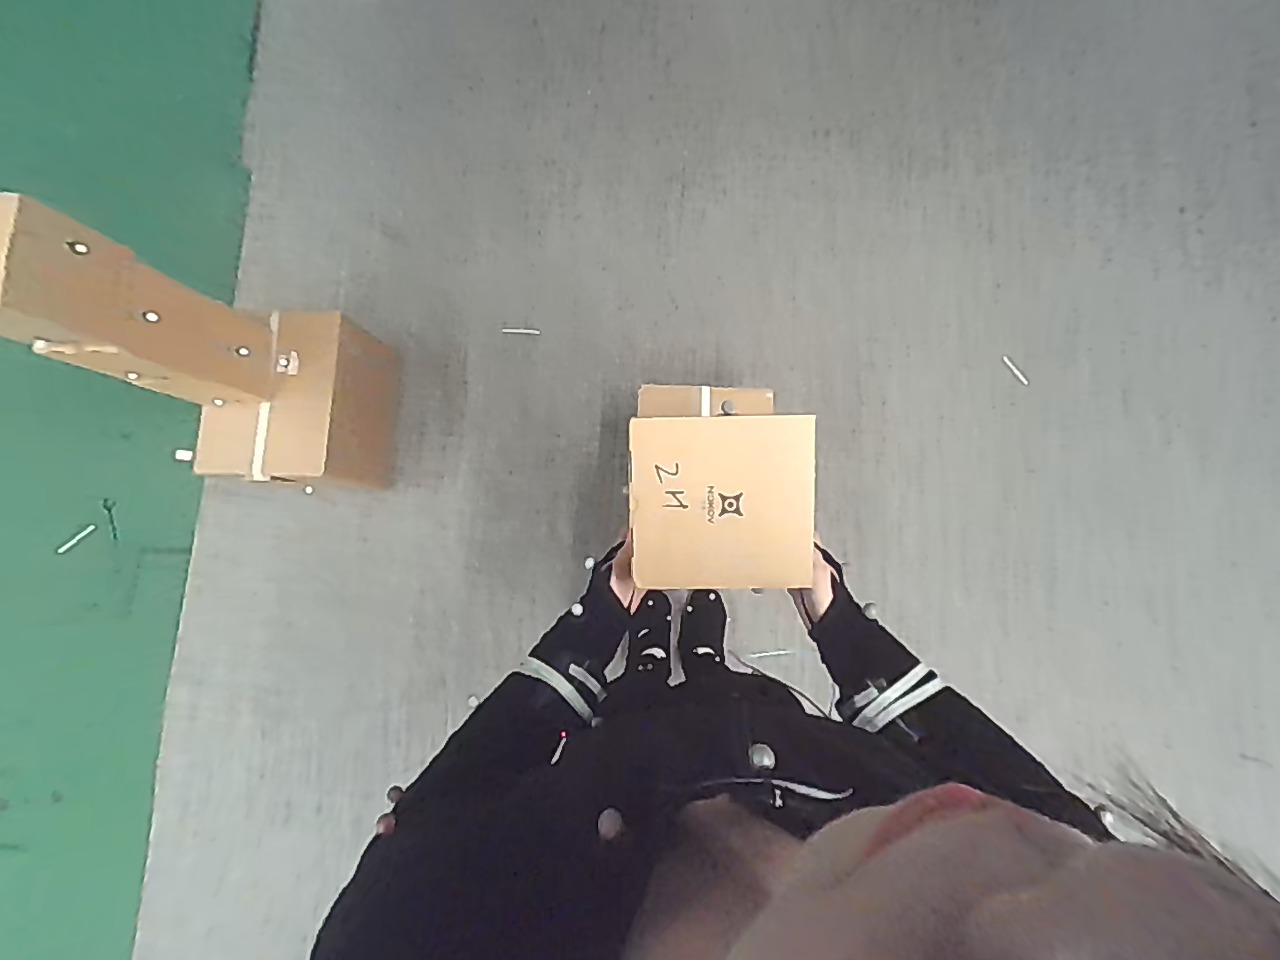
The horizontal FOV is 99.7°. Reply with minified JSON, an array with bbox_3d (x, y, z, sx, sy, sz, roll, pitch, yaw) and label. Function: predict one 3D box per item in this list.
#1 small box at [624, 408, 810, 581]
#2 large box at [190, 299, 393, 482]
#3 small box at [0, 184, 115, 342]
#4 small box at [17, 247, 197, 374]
[{"bbox_3d":[0.075,0.006,0.592,0.179,0.176,0.168,-2,97,3],"label":"small box"},{"bbox_3d":[-0.869,-0.209,1.395,0.320,0.320,0.408,1,84,2],"label":"large box"},{"bbox_3d":[-0.976,-0.328,0.837,0.168,0.176,0.179,3,86,6],"label":"small box"},{"bbox_3d":[-0.968,-0.306,0.999,0.168,0.176,0.179,1,85,5],"label":"small box"}]
